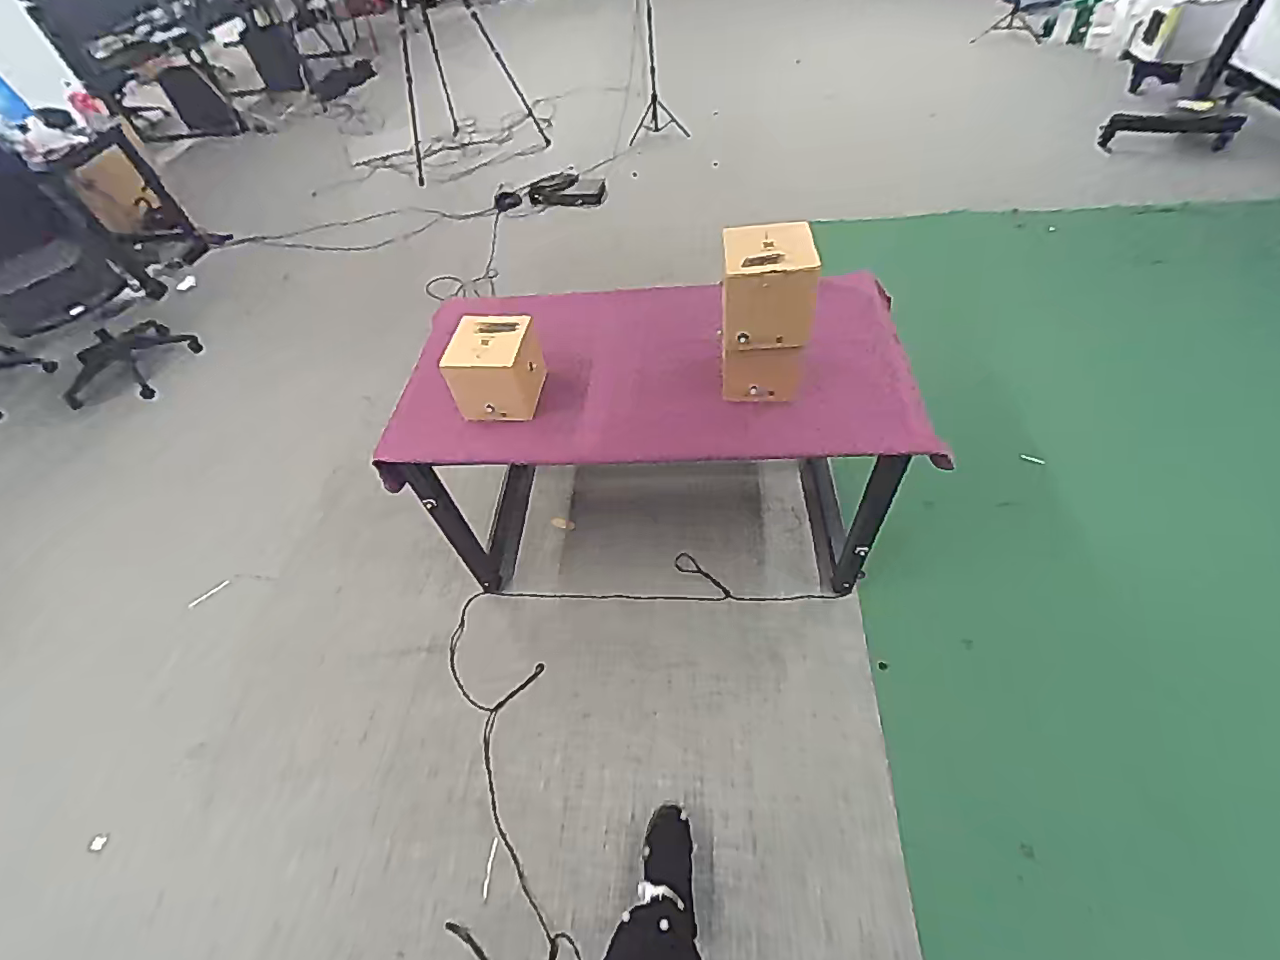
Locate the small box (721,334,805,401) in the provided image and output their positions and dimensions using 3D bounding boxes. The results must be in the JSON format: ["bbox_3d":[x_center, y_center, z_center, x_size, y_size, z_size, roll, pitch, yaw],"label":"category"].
[{"bbox_3d":[0.266,-0.295,1.201,0.168,0.176,0.179,0,52,9],"label":"small box"}]

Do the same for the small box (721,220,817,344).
[{"bbox_3d":[0.245,-0.381,1.061,0.168,0.176,0.179,-2,50,8],"label":"small box"}]
